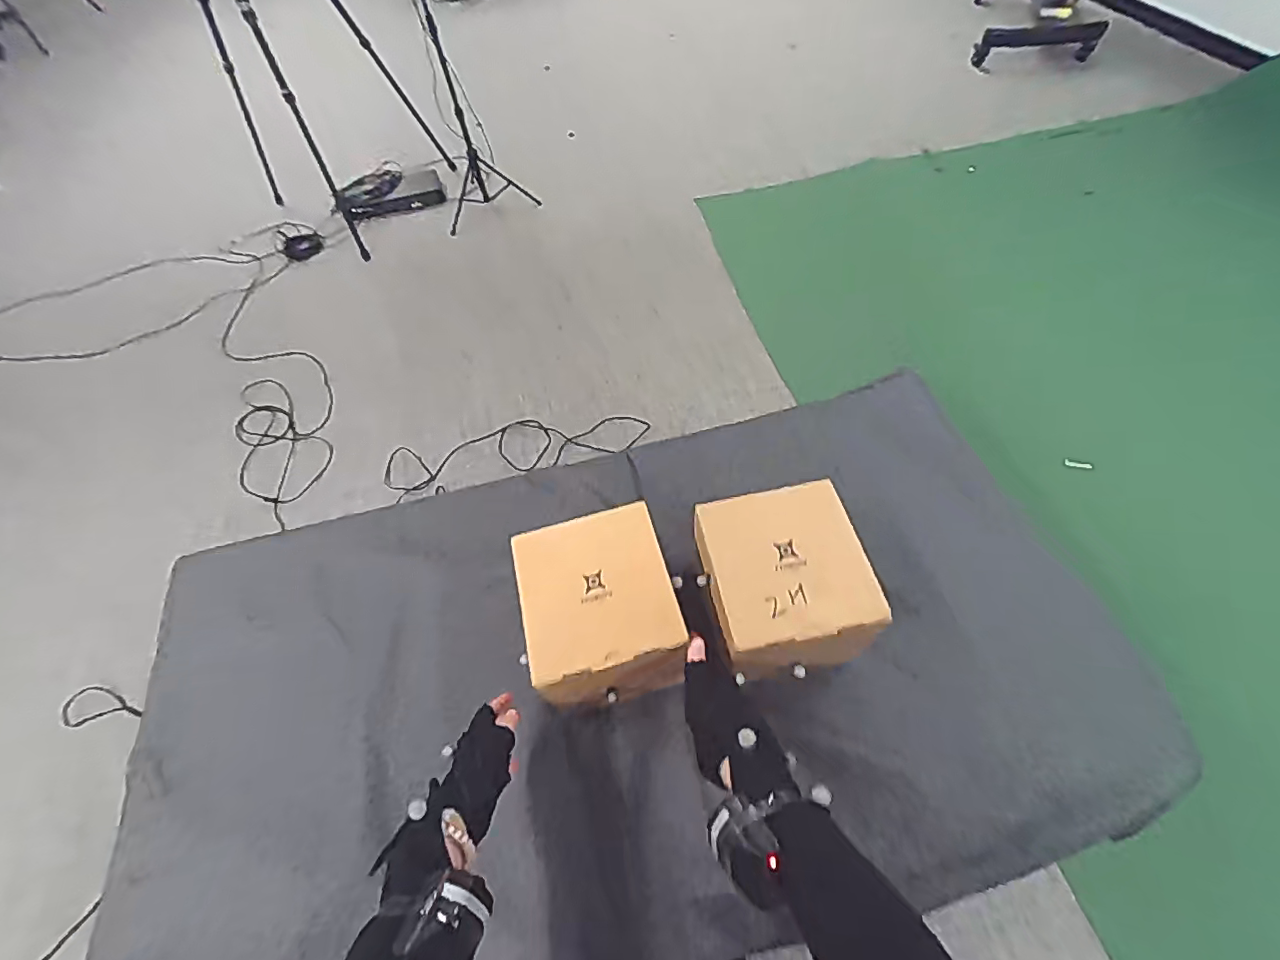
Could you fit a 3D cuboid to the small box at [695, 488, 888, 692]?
[{"bbox_3d":[0.163,0.137,0.656,0.168,0.176,0.179,-11,57,-2],"label":"small box"}]
